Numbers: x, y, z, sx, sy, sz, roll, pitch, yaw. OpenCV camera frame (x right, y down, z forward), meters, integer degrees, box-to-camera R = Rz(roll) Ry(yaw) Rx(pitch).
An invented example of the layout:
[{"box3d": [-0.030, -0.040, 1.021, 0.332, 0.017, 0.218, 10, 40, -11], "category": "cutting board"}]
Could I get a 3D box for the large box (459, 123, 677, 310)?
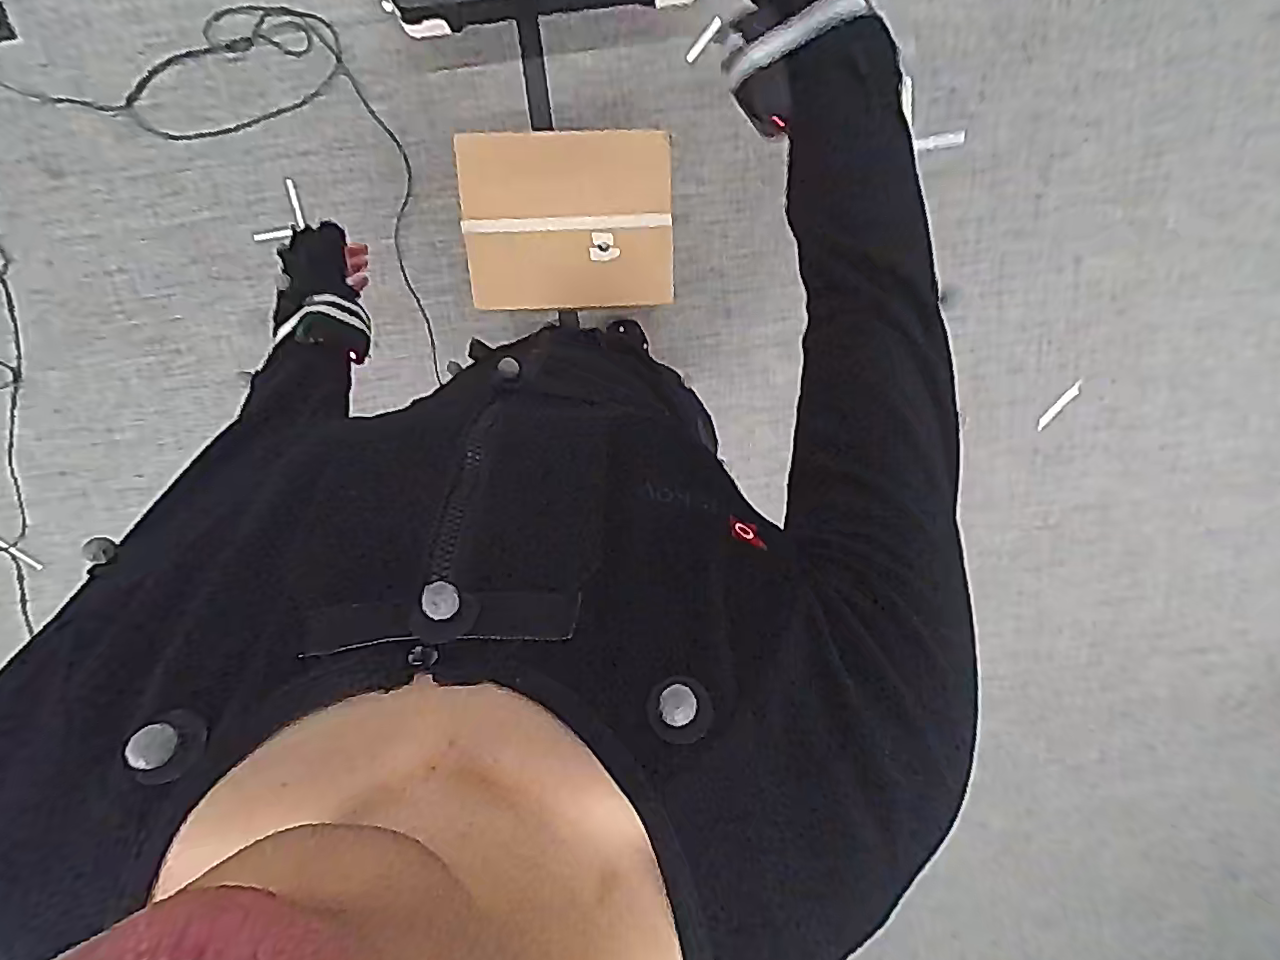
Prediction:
[{"box3d": [-0.141, -0.549, 1.187, 0.408, 0.320, 0.320, -3, 107, -3], "category": "large box"}]
